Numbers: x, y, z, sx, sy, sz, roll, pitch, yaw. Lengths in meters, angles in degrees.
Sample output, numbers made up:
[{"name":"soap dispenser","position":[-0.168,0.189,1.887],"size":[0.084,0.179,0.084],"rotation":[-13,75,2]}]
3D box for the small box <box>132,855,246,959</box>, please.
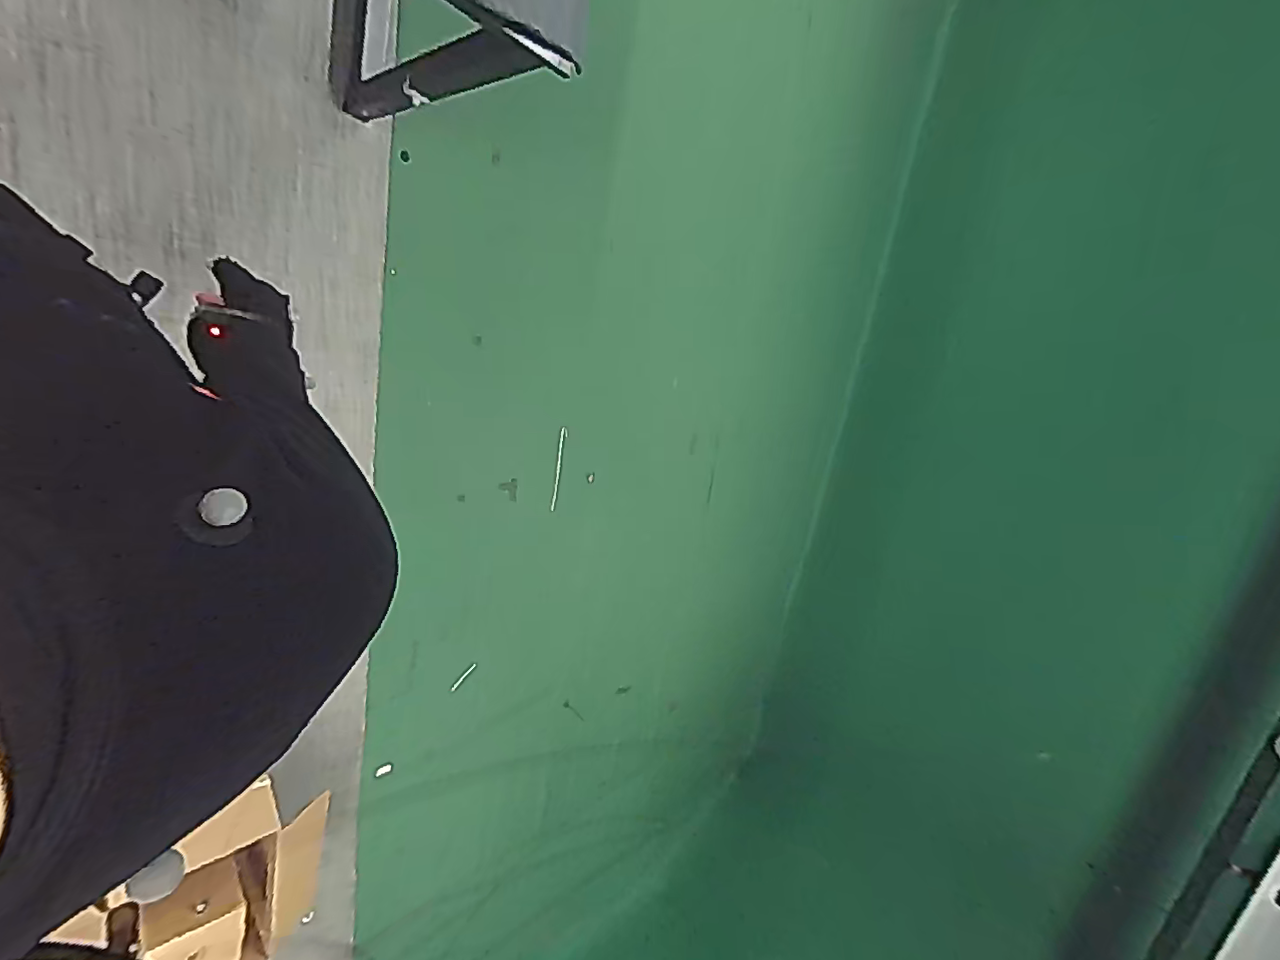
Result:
[{"name":"small box","position":[-1.025,1.013,1.225],"size":[0.179,0.176,0.168],"rotation":[0,107,-49]}]
